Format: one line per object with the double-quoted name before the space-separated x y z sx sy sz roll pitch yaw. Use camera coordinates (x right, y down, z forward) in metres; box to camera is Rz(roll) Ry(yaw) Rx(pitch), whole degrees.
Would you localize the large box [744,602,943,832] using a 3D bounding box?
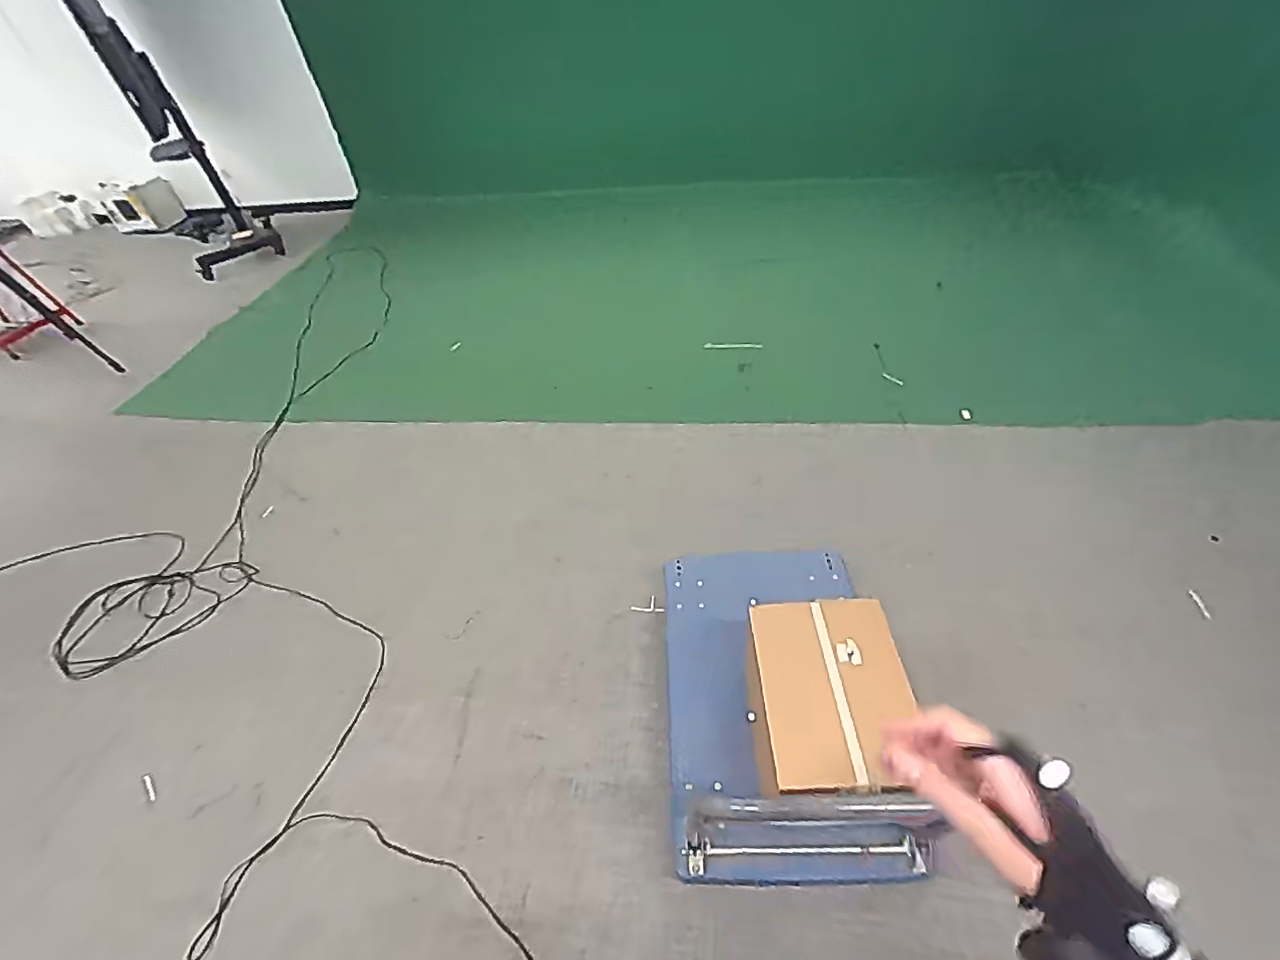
"large box" 0.430 0.549 1.264 0.320 0.320 0.408 -3 45 2
